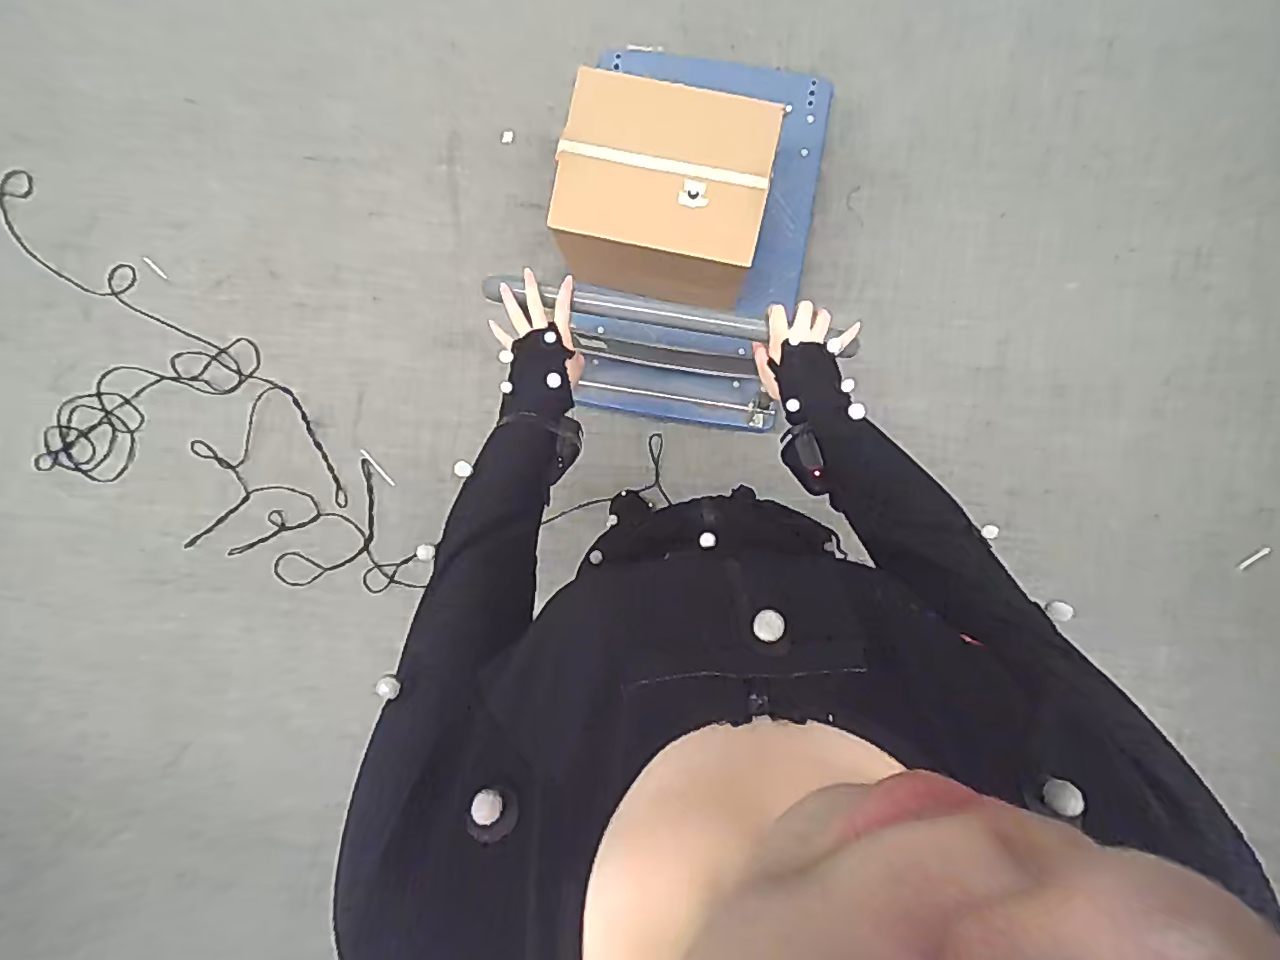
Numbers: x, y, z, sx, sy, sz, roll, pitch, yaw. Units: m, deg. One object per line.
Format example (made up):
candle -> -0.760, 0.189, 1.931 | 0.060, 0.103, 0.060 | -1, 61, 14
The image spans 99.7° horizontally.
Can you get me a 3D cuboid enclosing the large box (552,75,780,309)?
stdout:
large box -> 0.050, -0.606, 1.197 | 0.408, 0.320, 0.320 | 12, 92, 1
